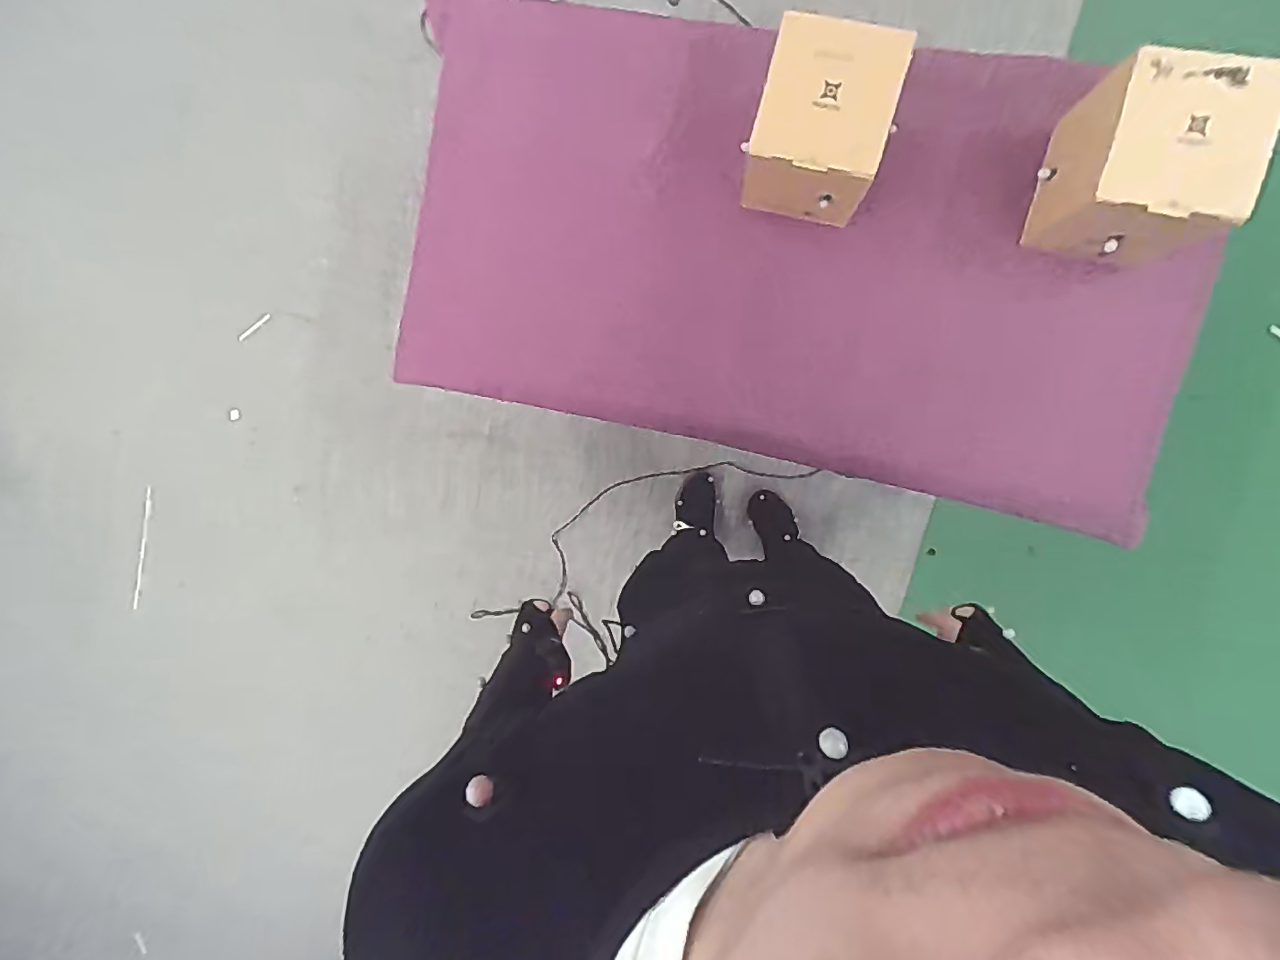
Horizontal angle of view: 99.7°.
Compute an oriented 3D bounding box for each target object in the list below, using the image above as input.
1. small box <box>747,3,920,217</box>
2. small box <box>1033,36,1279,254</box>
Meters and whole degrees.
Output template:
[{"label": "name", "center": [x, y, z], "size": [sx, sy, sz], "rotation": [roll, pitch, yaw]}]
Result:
[{"label": "small box", "center": [0.251, -0.492, 0.746], "size": [0.168, 0.176, 0.179], "rotation": [16, 97, 7]}, {"label": "small box", "center": [0.645, -0.407, 0.688], "size": [0.168, 0.176, 0.179], "rotation": [14, 98, 8]}]
